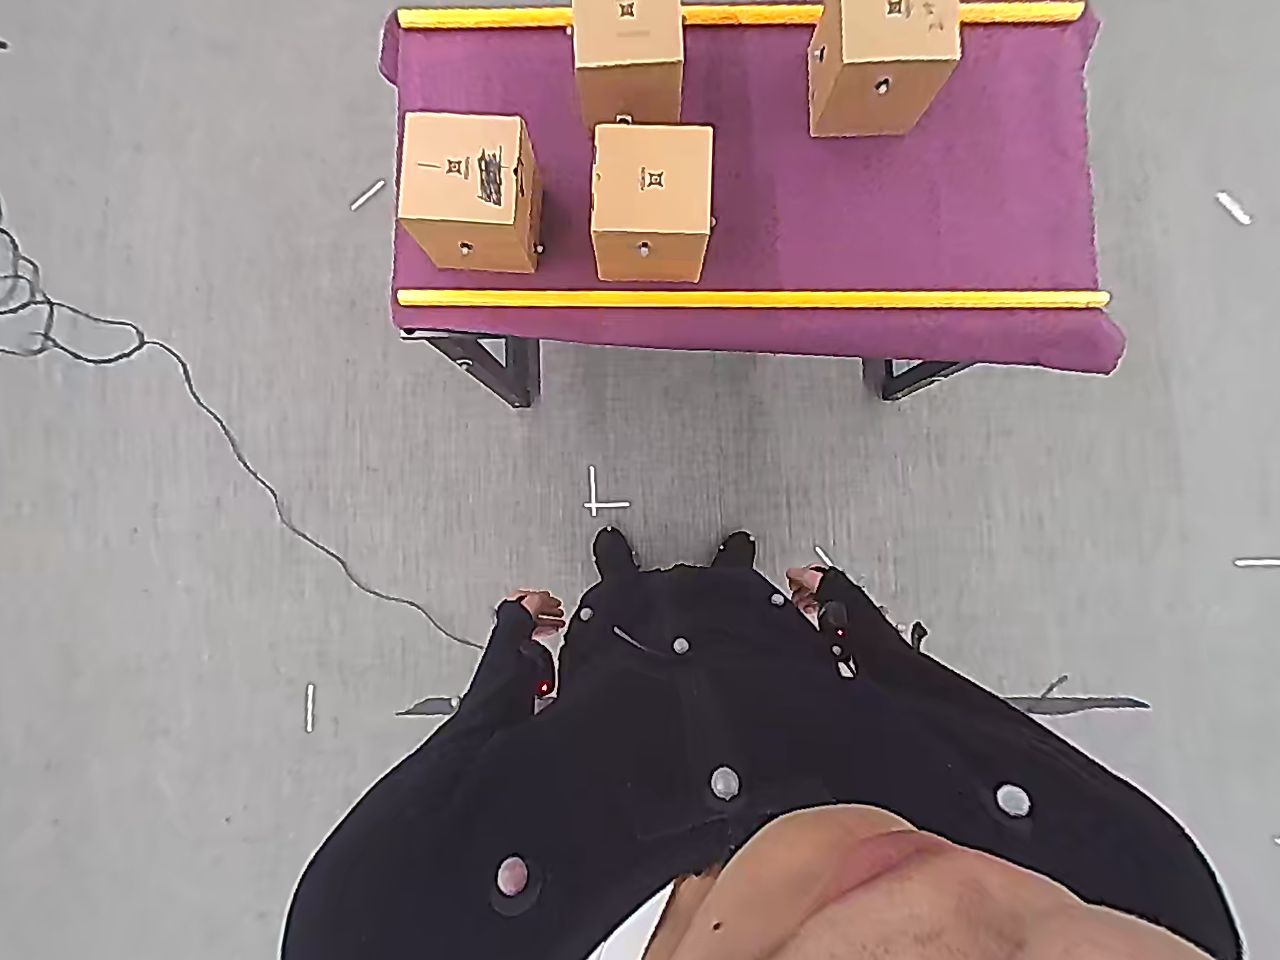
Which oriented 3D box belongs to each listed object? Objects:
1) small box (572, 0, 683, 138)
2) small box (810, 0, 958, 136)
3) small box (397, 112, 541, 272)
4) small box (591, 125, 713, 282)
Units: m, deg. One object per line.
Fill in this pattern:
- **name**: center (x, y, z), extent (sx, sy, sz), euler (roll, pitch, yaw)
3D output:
- **small box**: center (-0.019, -0.701, 0.886), extent (0.168, 0.176, 0.179), euler (-3, 88, 1)
- **small box**: center (0.382, -0.691, 0.878), extent (0.179, 0.176, 0.168), euler (0, 88, 1)
- **small box**: center (-0.263, -0.451, 0.872), extent (0.179, 0.176, 0.168), euler (4, 87, 1)
- **small box**: center (0.019, -0.433, 0.870), extent (0.179, 0.176, 0.168), euler (2, 86, 2)
